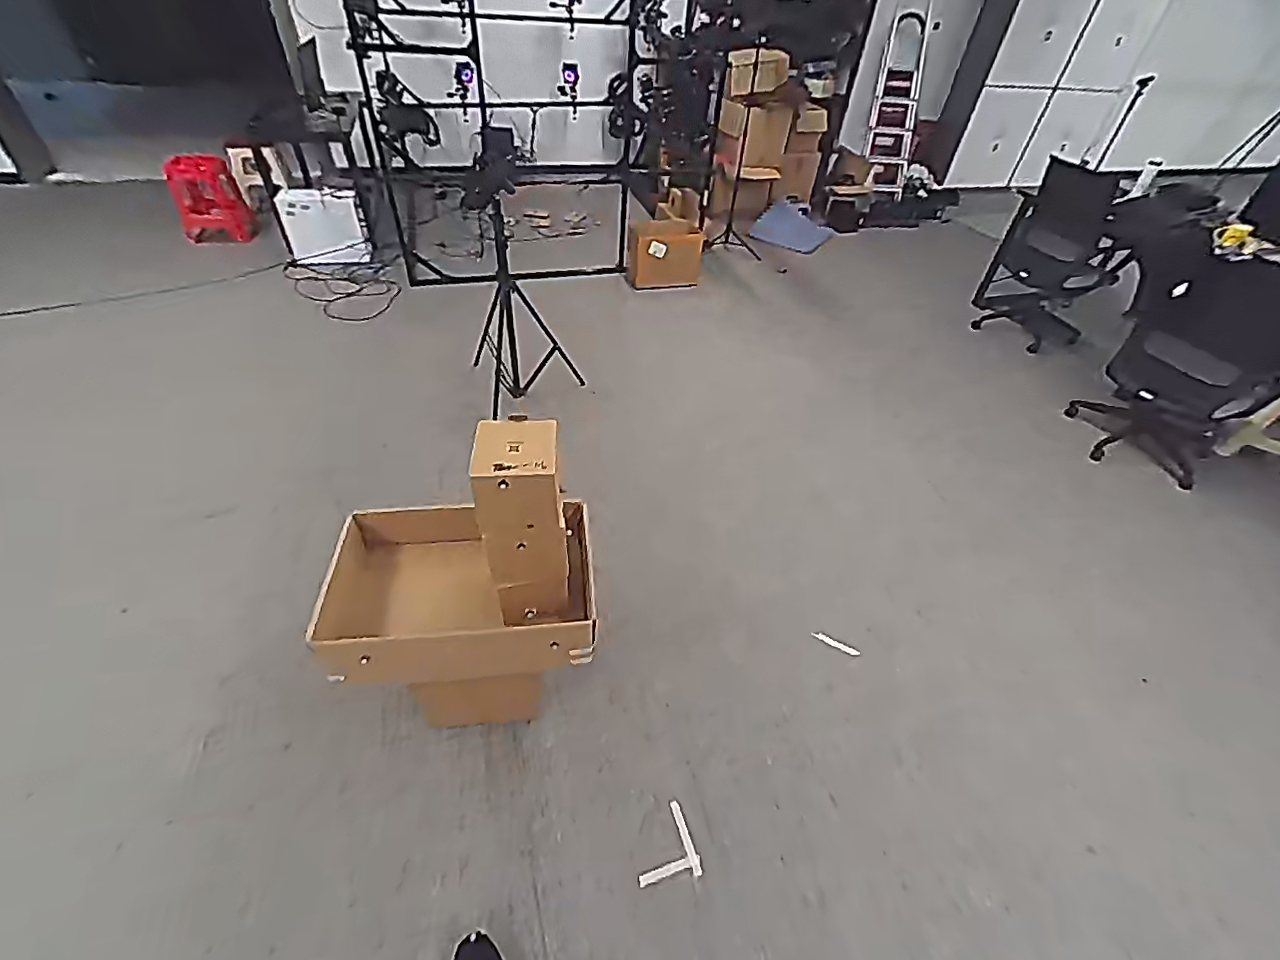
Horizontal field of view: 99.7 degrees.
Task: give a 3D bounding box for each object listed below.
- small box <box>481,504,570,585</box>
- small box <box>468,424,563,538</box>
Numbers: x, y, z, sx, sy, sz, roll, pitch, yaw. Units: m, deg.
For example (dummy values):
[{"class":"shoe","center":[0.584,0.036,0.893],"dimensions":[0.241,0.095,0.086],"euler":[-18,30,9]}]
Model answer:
[{"class":"small box","center":[-0.260,0.124,1.240],"dimensions":[0.179,0.176,0.168],"euler":[-6,44,-10]},{"class":"small box","center":[-0.251,0.001,1.132],"dimensions":[0.168,0.176,0.179],"euler":[-2,42,-5]}]
